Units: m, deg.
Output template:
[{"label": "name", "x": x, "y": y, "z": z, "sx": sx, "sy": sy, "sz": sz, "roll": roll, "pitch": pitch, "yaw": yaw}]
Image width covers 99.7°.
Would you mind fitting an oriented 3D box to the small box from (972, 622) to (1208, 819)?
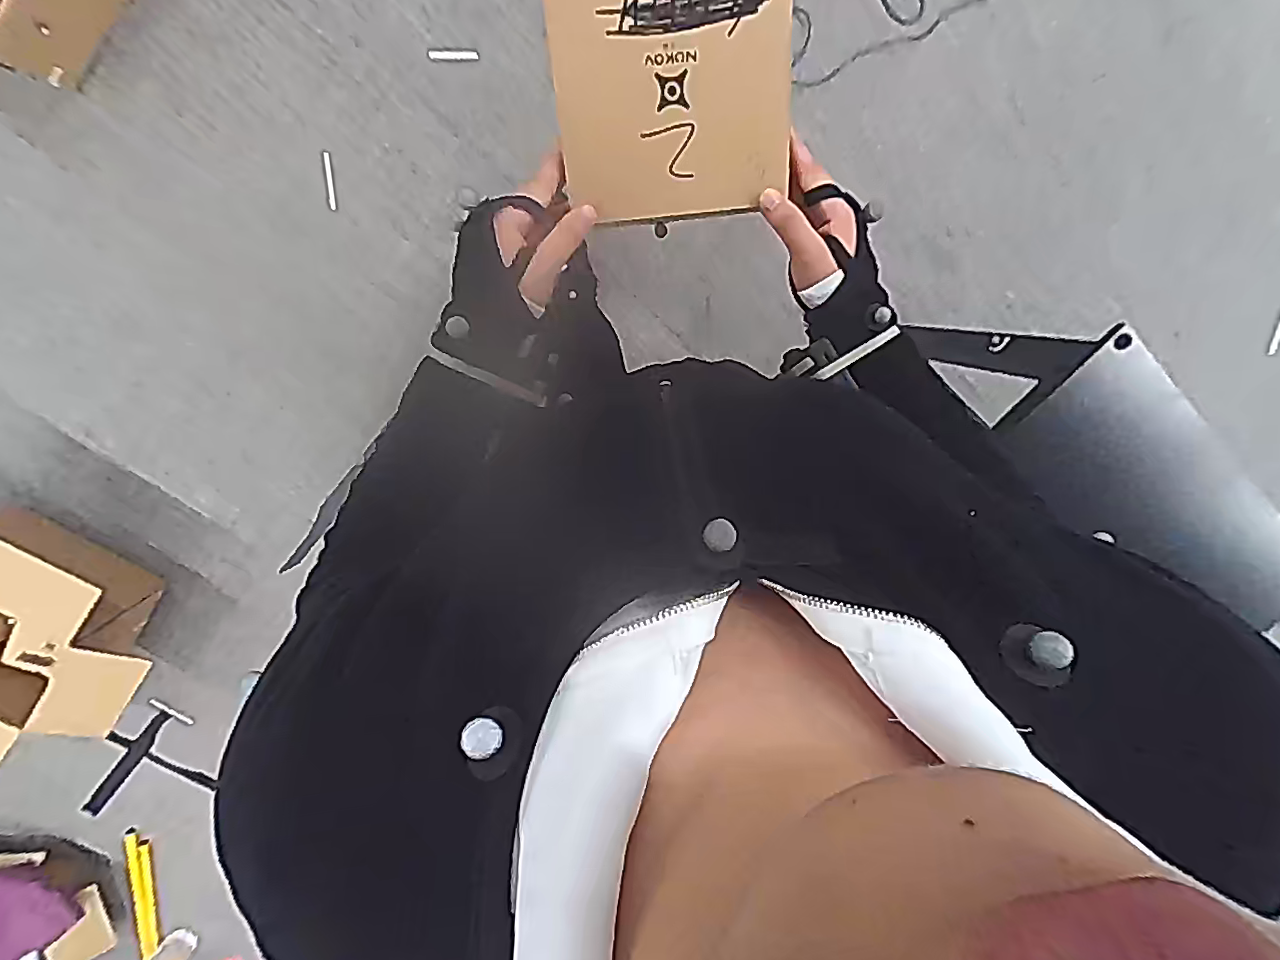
[{"label": "small box", "x": 0.654, "y": 0.348, "z": 0.808, "sx": 0.179, "sy": 0.176, "sz": 0.168, "roll": 40, "pitch": 102, "yaw": -14}]
